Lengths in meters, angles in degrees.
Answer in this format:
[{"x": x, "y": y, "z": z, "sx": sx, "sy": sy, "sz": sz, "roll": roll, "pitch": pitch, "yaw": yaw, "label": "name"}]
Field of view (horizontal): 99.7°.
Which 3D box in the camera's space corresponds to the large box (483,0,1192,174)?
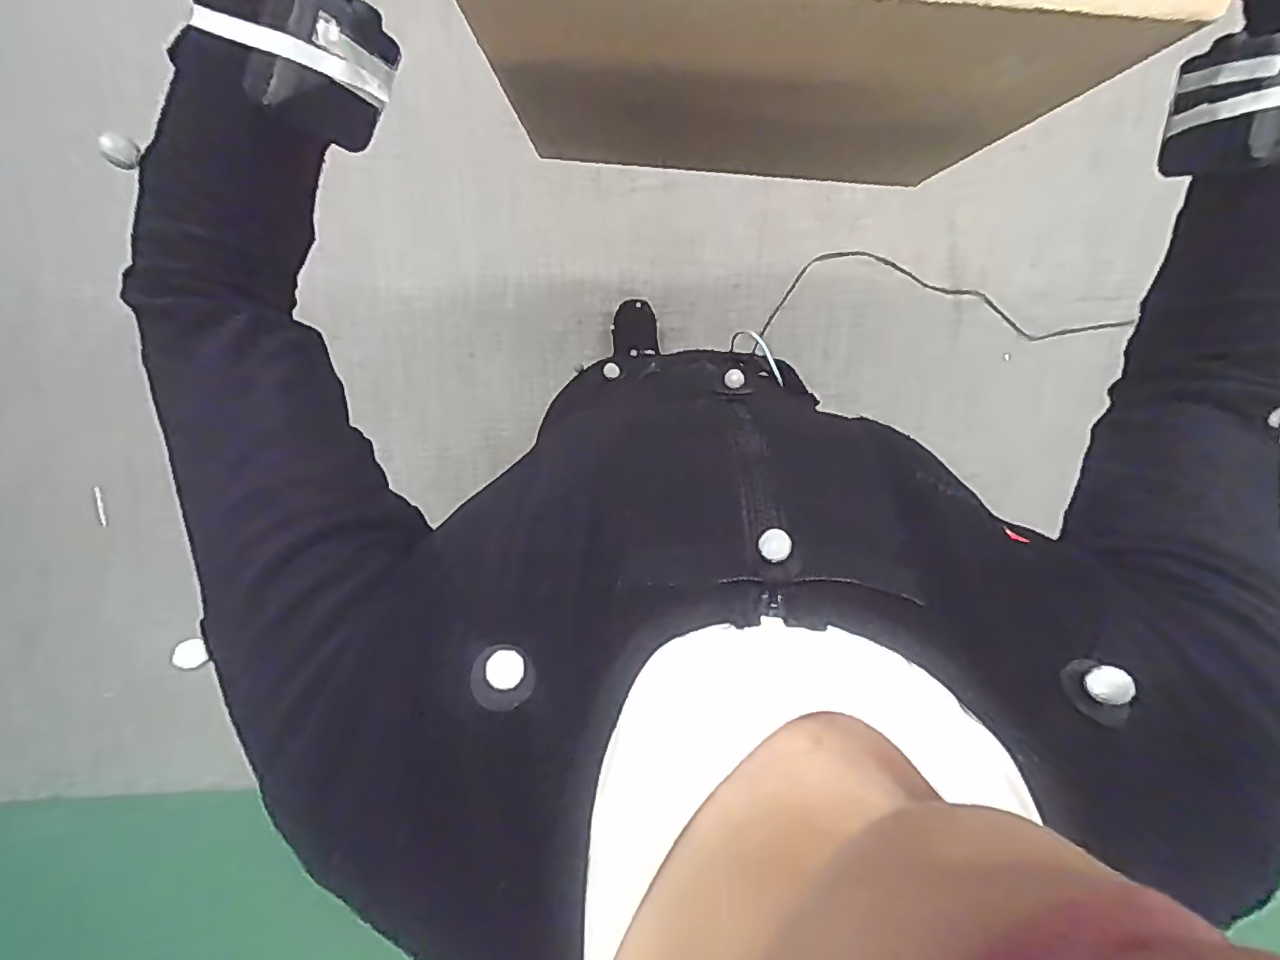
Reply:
[{"x": 0.104, "y": -0.444, "z": 0.392, "sx": 0.408, "sy": 0.320, "sz": 0.320, "roll": 3, "pitch": 105, "yaw": -2, "label": "large box"}]
